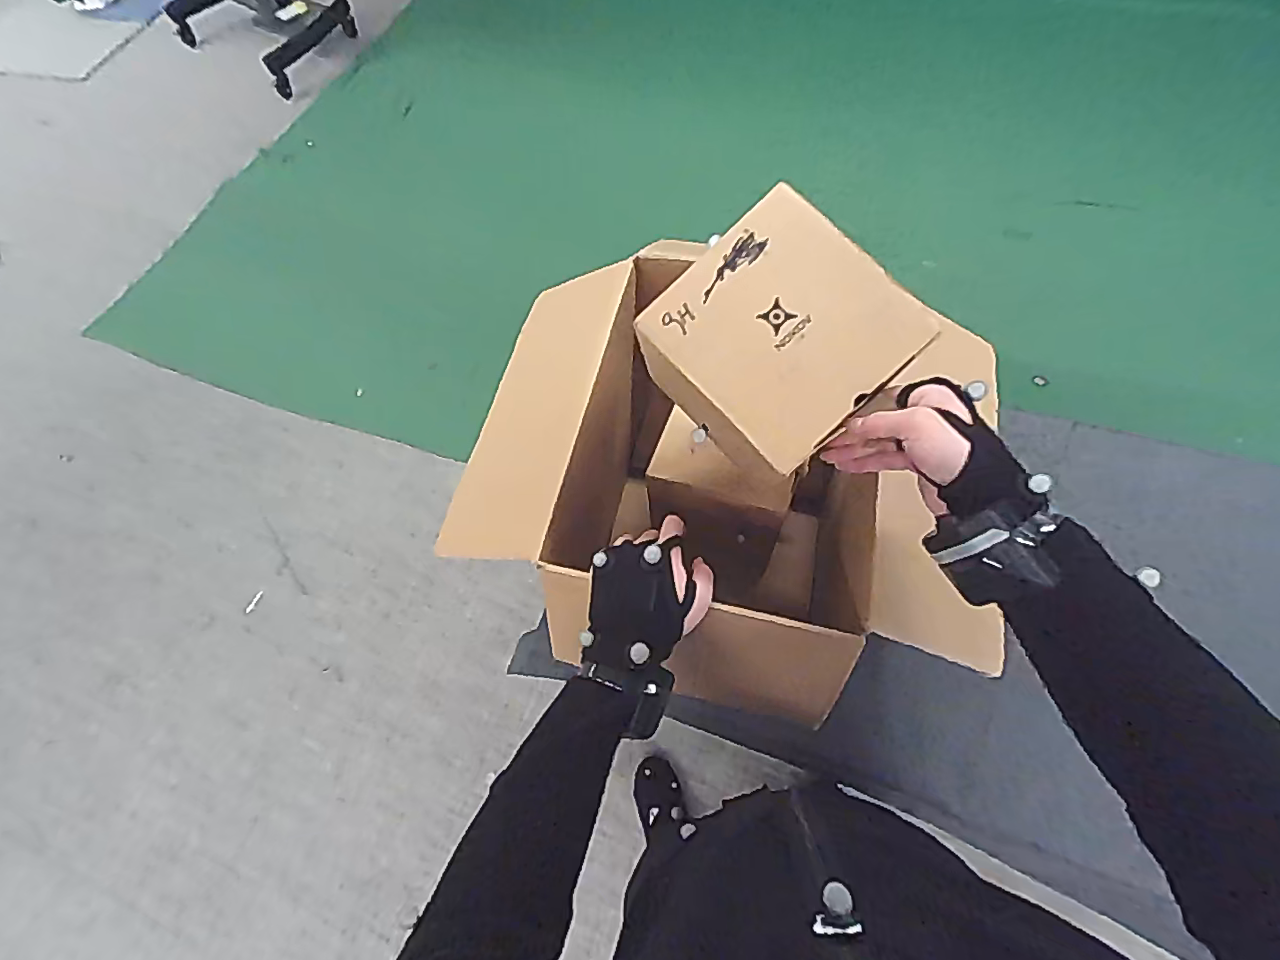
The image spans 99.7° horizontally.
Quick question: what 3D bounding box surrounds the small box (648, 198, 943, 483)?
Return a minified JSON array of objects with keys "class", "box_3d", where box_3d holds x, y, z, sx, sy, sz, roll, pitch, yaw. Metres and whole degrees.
[{"class":"small box","box_3d":[0.133,-0.111,0.514,0.168,0.176,0.179,-43,81,2]}]
